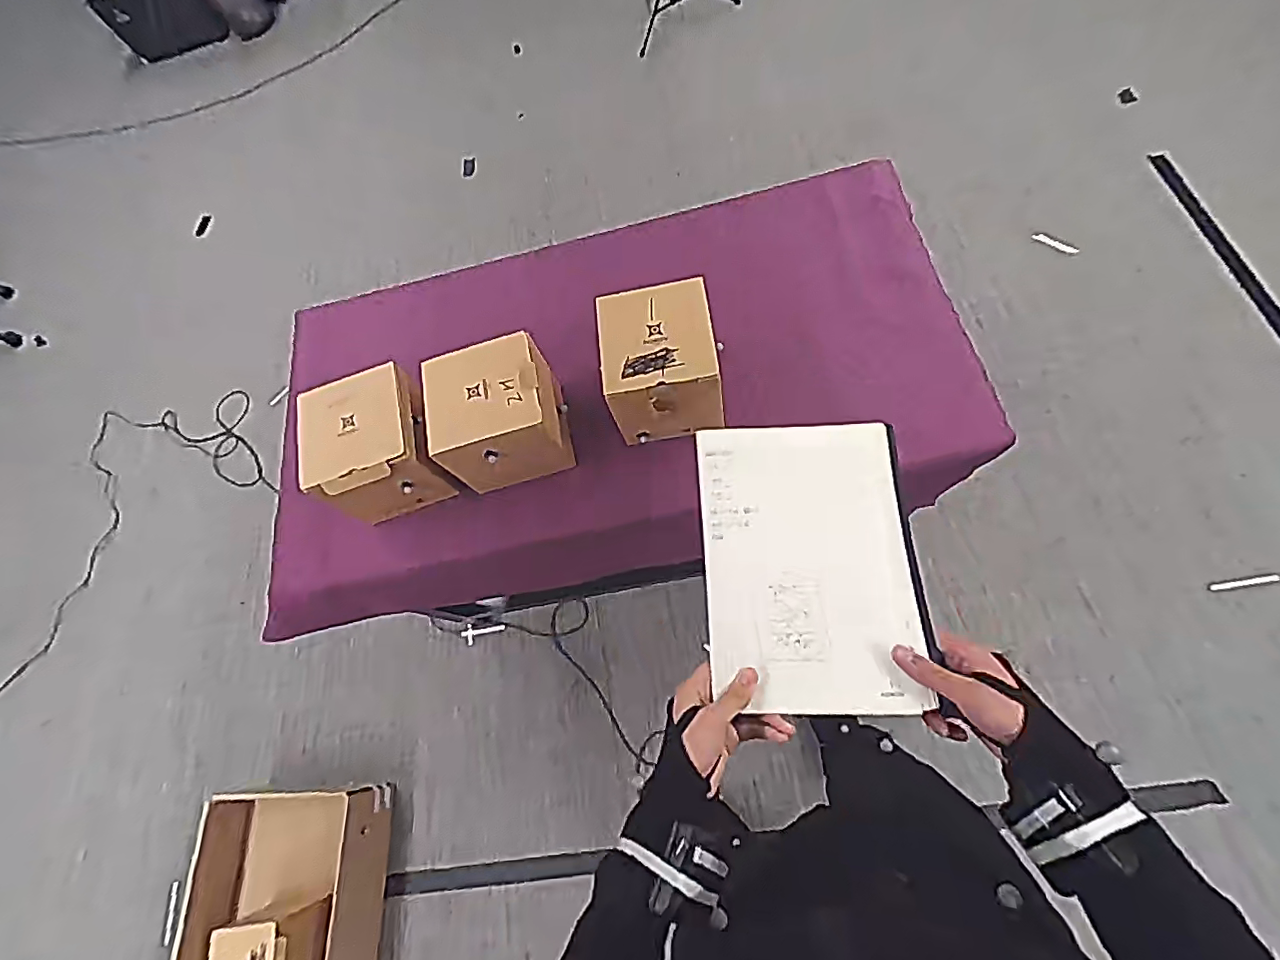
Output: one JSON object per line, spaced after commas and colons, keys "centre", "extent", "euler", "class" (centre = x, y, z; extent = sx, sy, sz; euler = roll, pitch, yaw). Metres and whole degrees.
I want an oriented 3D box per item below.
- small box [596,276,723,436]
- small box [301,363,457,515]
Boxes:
{"centre": [0.035, -0.181, 0.848], "extent": [0.168, 0.176, 0.179], "euler": [-9, 67, 7], "class": "small box"}
{"centre": [-0.419, -0.055, 0.888], "extent": [0.168, 0.176, 0.179], "euler": [-19, 67, 2], "class": "small box"}
